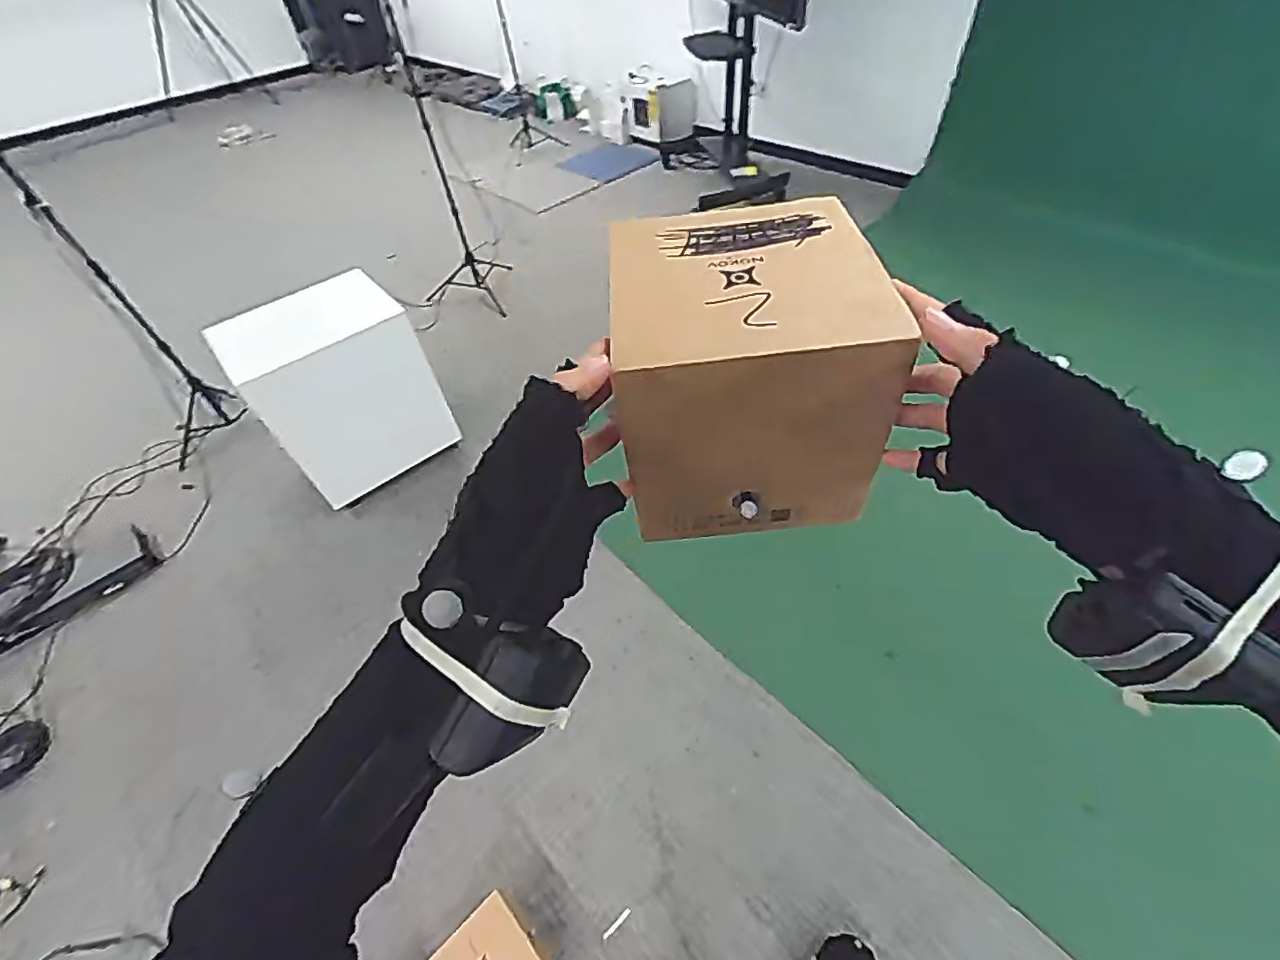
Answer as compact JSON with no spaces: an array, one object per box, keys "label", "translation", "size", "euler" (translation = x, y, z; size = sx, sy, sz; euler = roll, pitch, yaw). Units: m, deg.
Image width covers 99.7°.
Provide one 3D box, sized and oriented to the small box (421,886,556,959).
[{"label":"small box","translation":[-0.284,0.940,1.052],"size":[0.168,0.176,0.179],"euler":[-37,55,-25]}]
